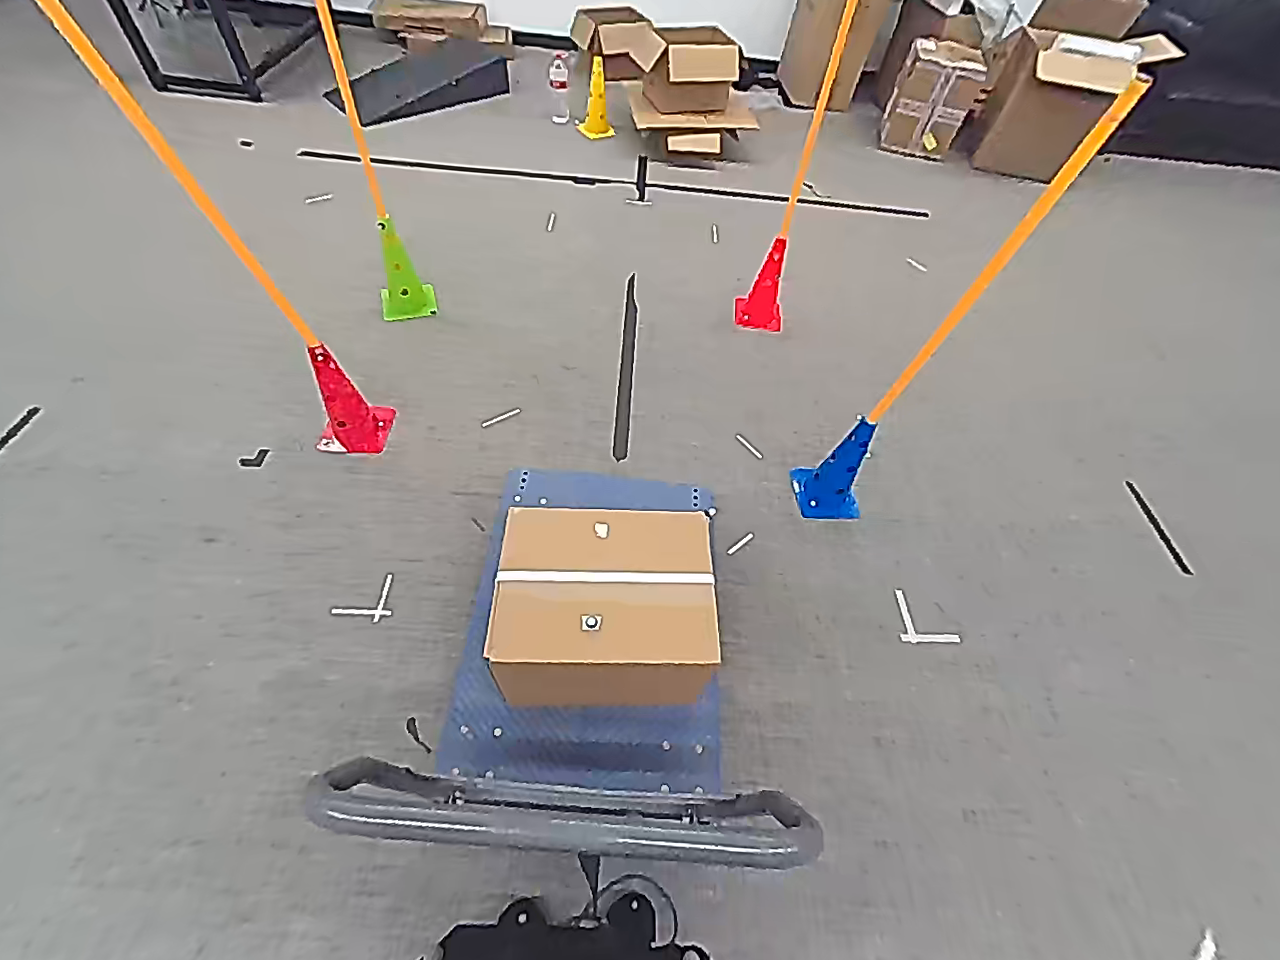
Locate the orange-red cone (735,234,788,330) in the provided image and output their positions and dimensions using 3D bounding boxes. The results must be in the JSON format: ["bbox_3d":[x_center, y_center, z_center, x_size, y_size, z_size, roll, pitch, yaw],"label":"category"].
[{"bbox_3d":[0.523,-0.812,2.167,0.199,0.360,0.198,10,55,0],"label":"orange-red cone"}]

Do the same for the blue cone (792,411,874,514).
[{"bbox_3d":[0.626,-0.063,1.659,0.193,0.380,0.192,1,53,-6],"label":"blue cone"}]
